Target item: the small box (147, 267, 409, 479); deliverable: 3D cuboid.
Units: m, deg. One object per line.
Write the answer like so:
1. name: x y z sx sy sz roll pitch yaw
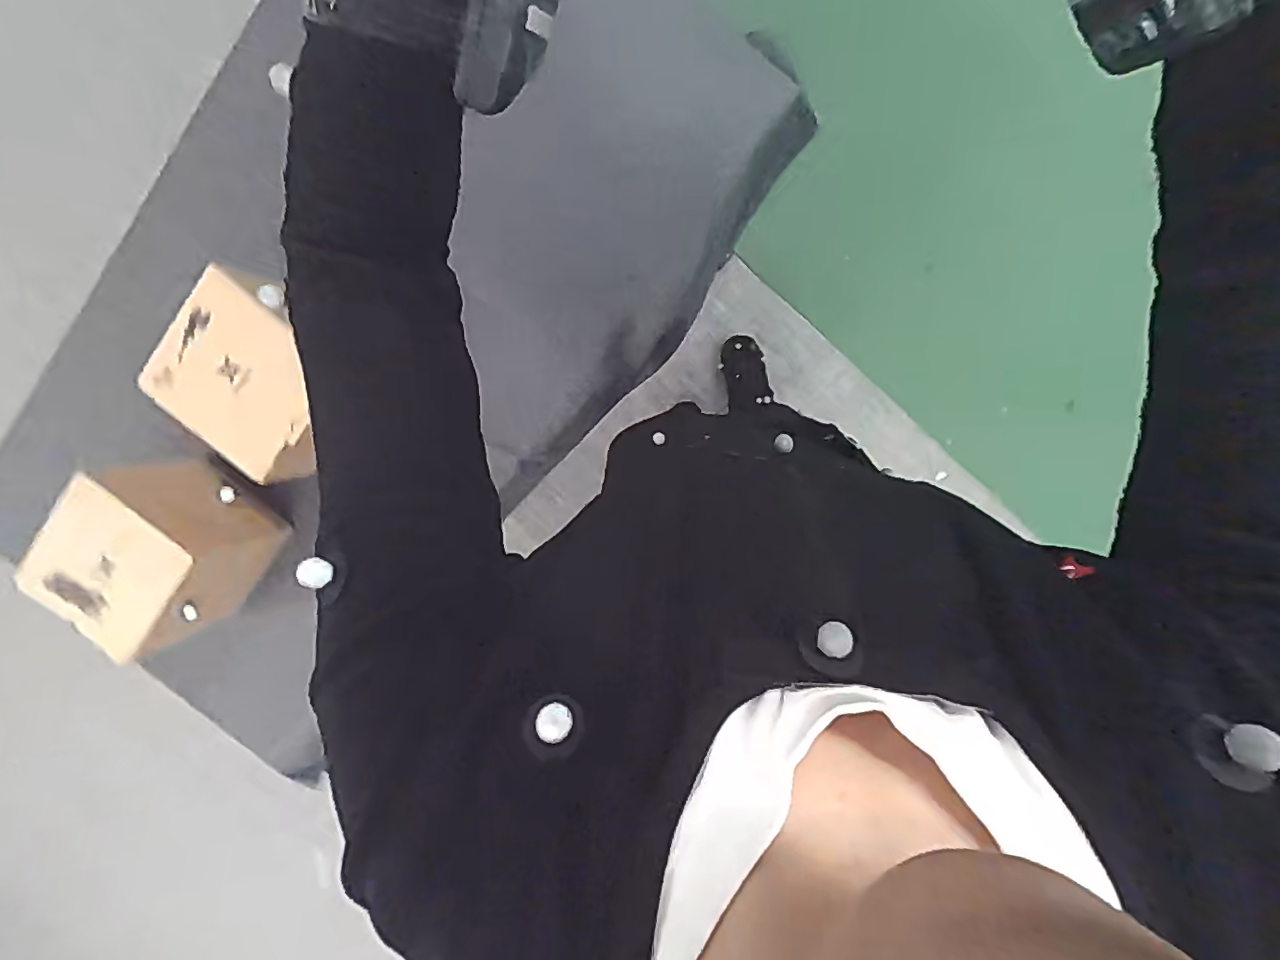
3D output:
1. small box: -0.429 -0.129 0.673 0.179 0.176 0.168 40 99 -2

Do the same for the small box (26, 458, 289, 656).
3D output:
1. small box: -0.620 0.089 0.719 0.168 0.176 0.179 38 99 -2
